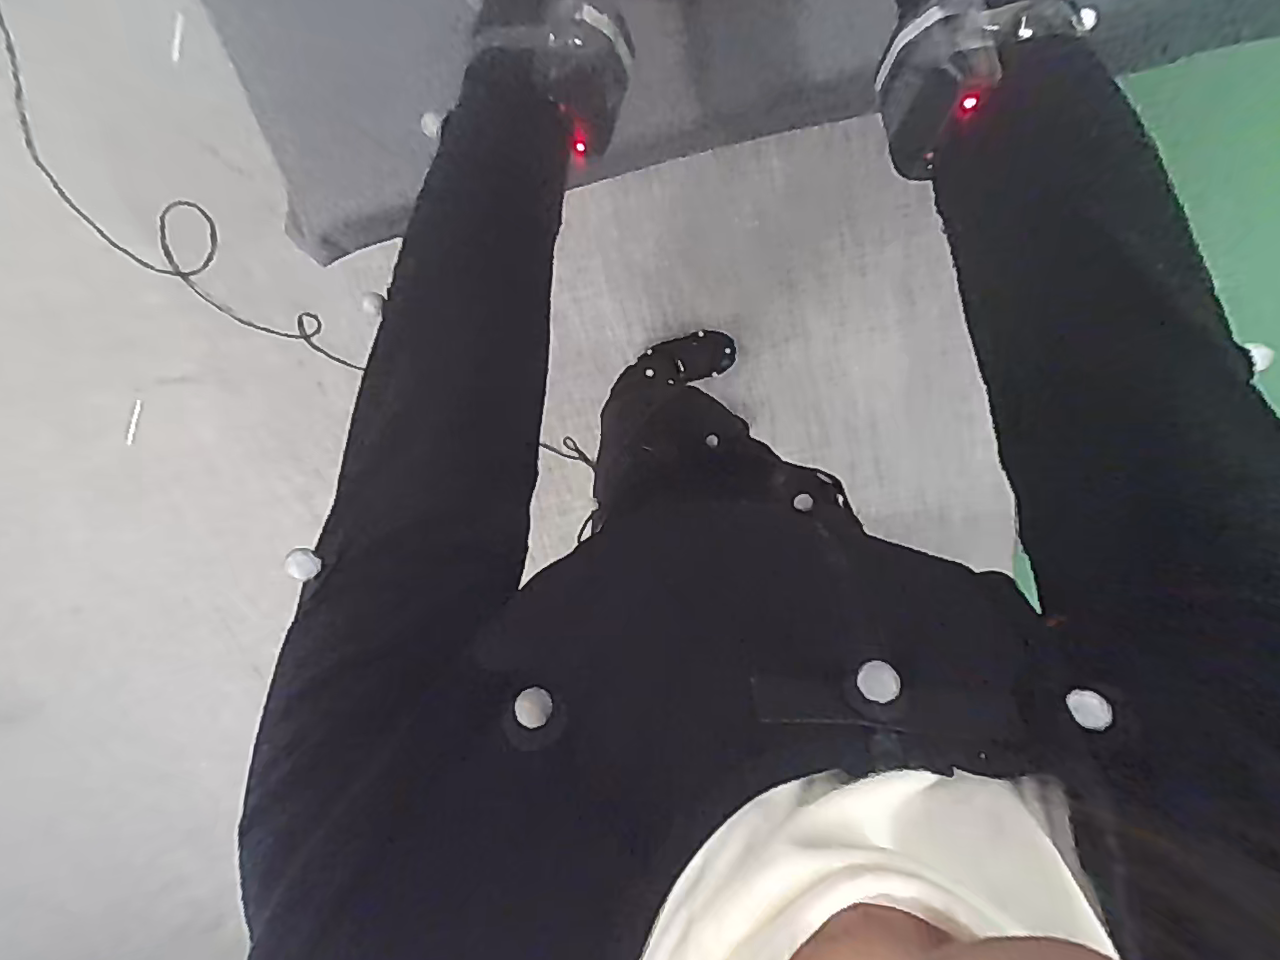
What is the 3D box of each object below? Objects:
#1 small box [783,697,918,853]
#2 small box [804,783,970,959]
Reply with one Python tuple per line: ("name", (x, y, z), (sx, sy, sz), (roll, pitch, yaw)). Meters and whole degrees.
("small box", (0.357, 0.511, 0.938), (0.179, 0.176, 0.168), (-15, 112, 6))
("small box", (0.352, 0.583, 0.790), (0.168, 0.176, 0.179), (-16, 113, 8))
